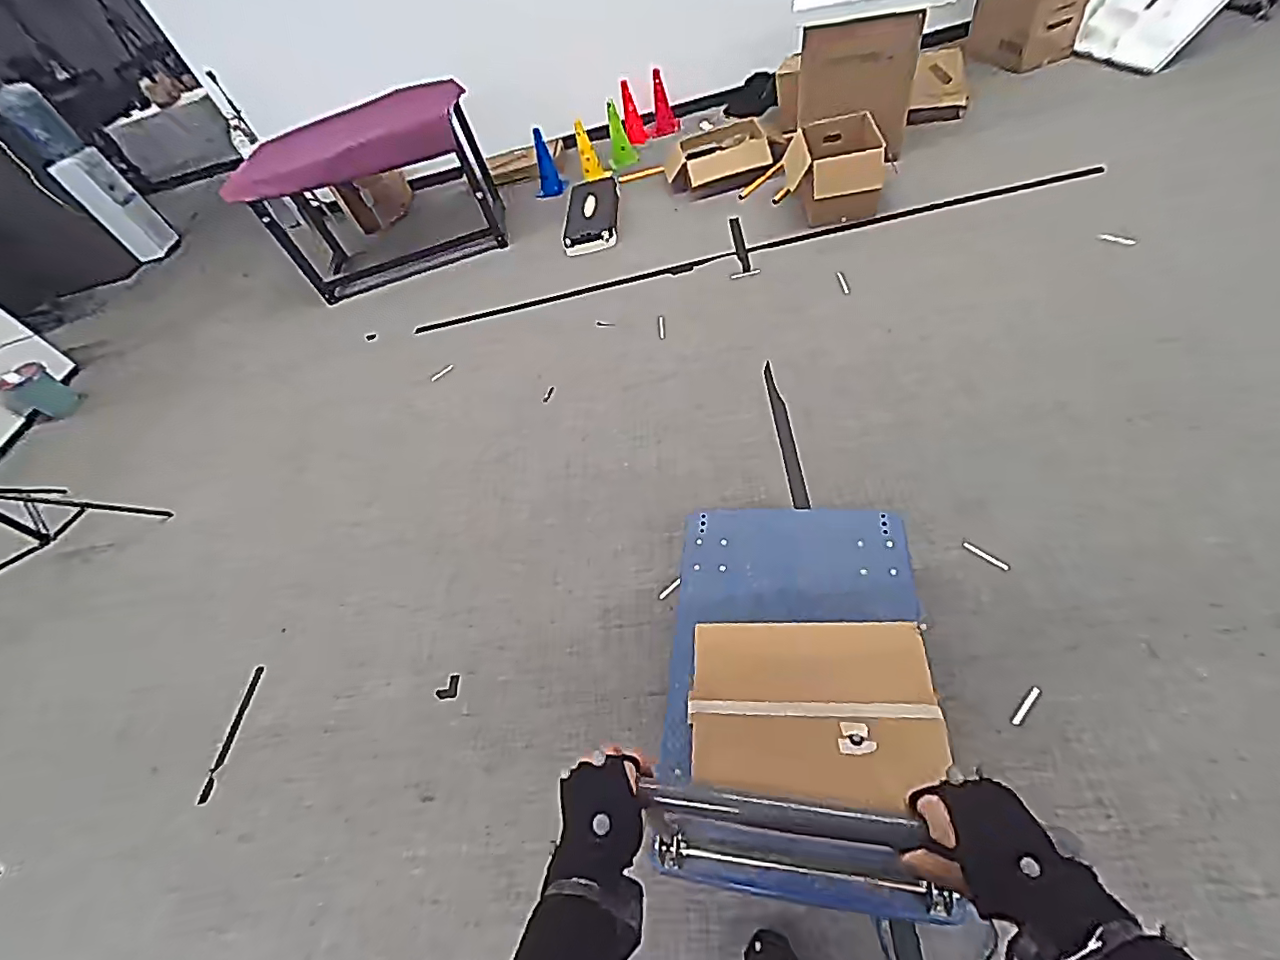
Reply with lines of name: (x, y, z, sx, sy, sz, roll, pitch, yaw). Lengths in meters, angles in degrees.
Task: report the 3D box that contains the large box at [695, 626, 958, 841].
large box: (0.322, 0.492, 1.048, 0.408, 0.320, 0.320, -3, 52, 12)
